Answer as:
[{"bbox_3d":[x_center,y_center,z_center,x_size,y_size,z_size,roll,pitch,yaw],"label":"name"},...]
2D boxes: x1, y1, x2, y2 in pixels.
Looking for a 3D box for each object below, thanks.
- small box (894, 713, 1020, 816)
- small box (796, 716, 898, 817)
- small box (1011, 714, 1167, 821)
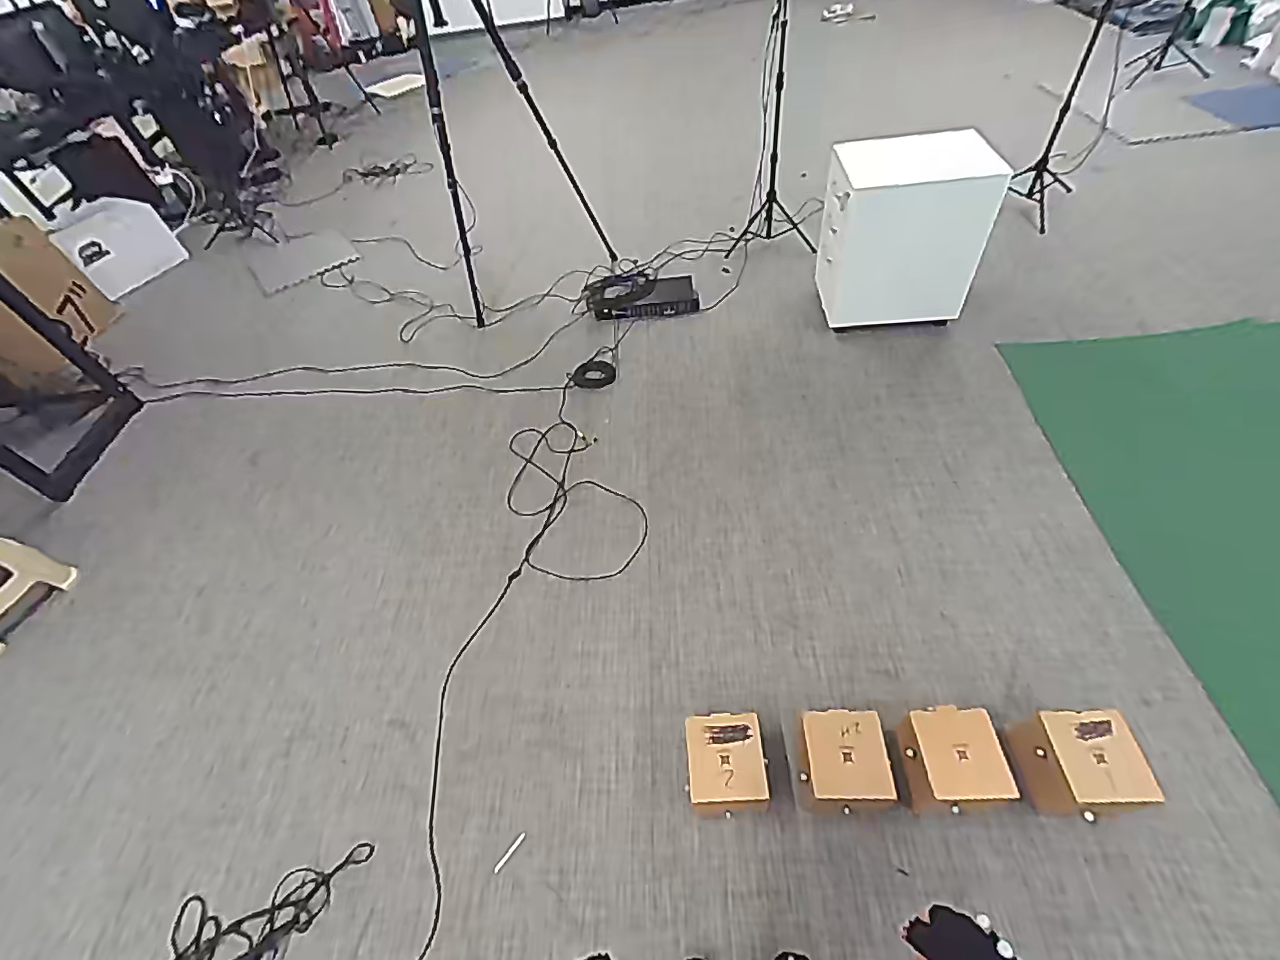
[{"bbox_3d":[0.683,0.631,1.190,0.168,0.176,0.179,-4,50,4],"label":"small box"},{"bbox_3d":[0.452,0.643,1.209,0.168,0.176,0.179,-3,50,5],"label":"small box"},{"bbox_3d":[0.945,0.619,1.162,0.168,0.176,0.179,-4,51,5],"label":"small box"}]
